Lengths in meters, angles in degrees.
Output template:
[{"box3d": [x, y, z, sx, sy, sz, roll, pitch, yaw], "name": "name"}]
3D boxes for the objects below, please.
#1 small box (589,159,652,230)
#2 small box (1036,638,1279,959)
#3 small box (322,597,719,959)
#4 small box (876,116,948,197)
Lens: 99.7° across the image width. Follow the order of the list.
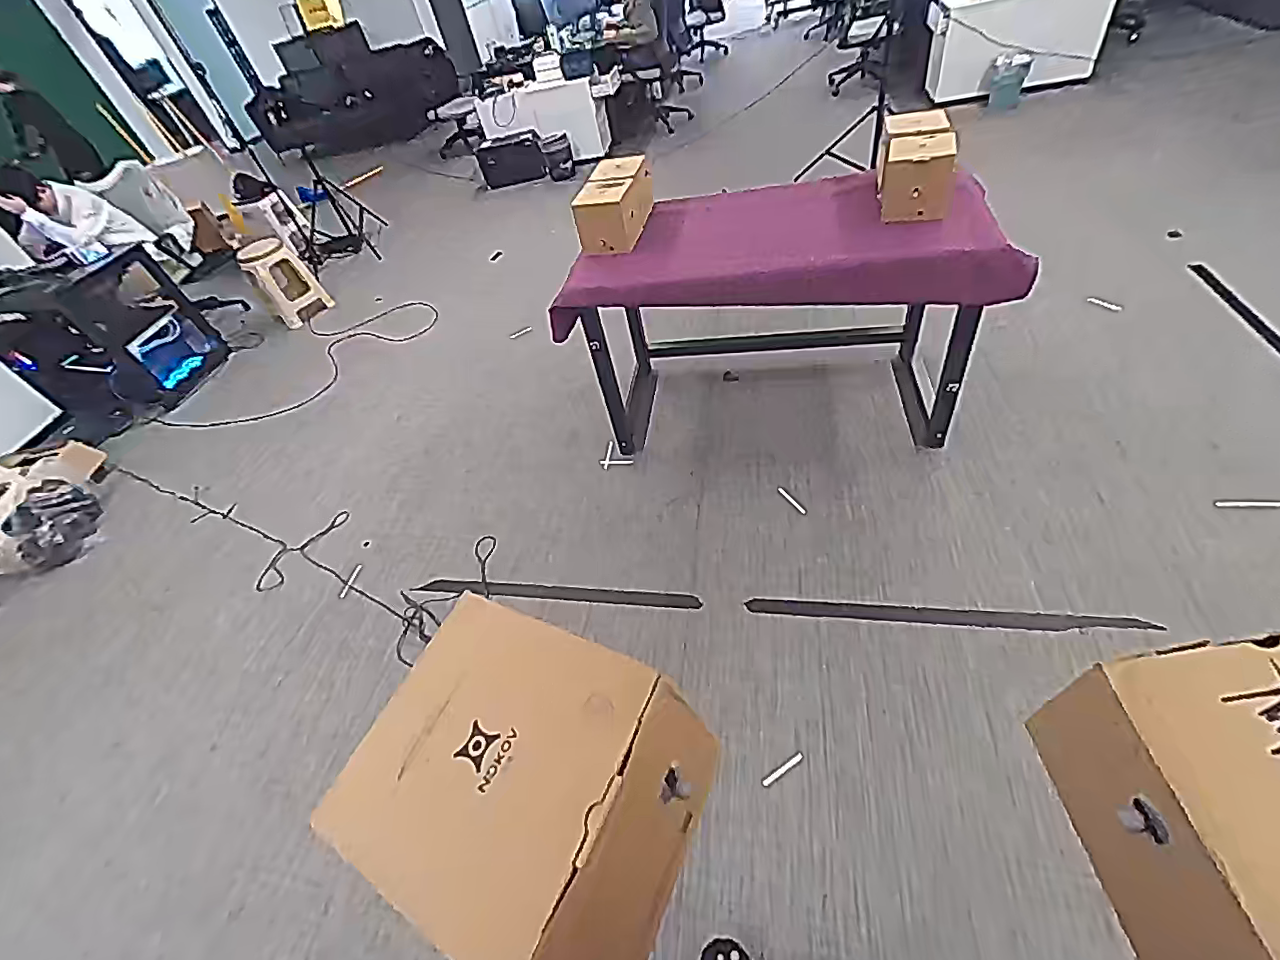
[{"box3d": [-0.062, -0.995, 1.889, 0.168, 0.176, 0.179, 3, 50, 17], "name": "small box"}, {"box3d": [0.371, 0.201, 0.308, 0.168, 0.176, 0.179, -14, 53, 11], "name": "small box"}, {"box3d": [-0.062, 0.212, 0.380, 0.179, 0.176, 0.168, 10, 56, 32], "name": "small box"}, {"box3d": [0.829, -0.992, 1.663, 0.168, 0.176, 0.179, 3, 48, 16], "name": "small box"}]
